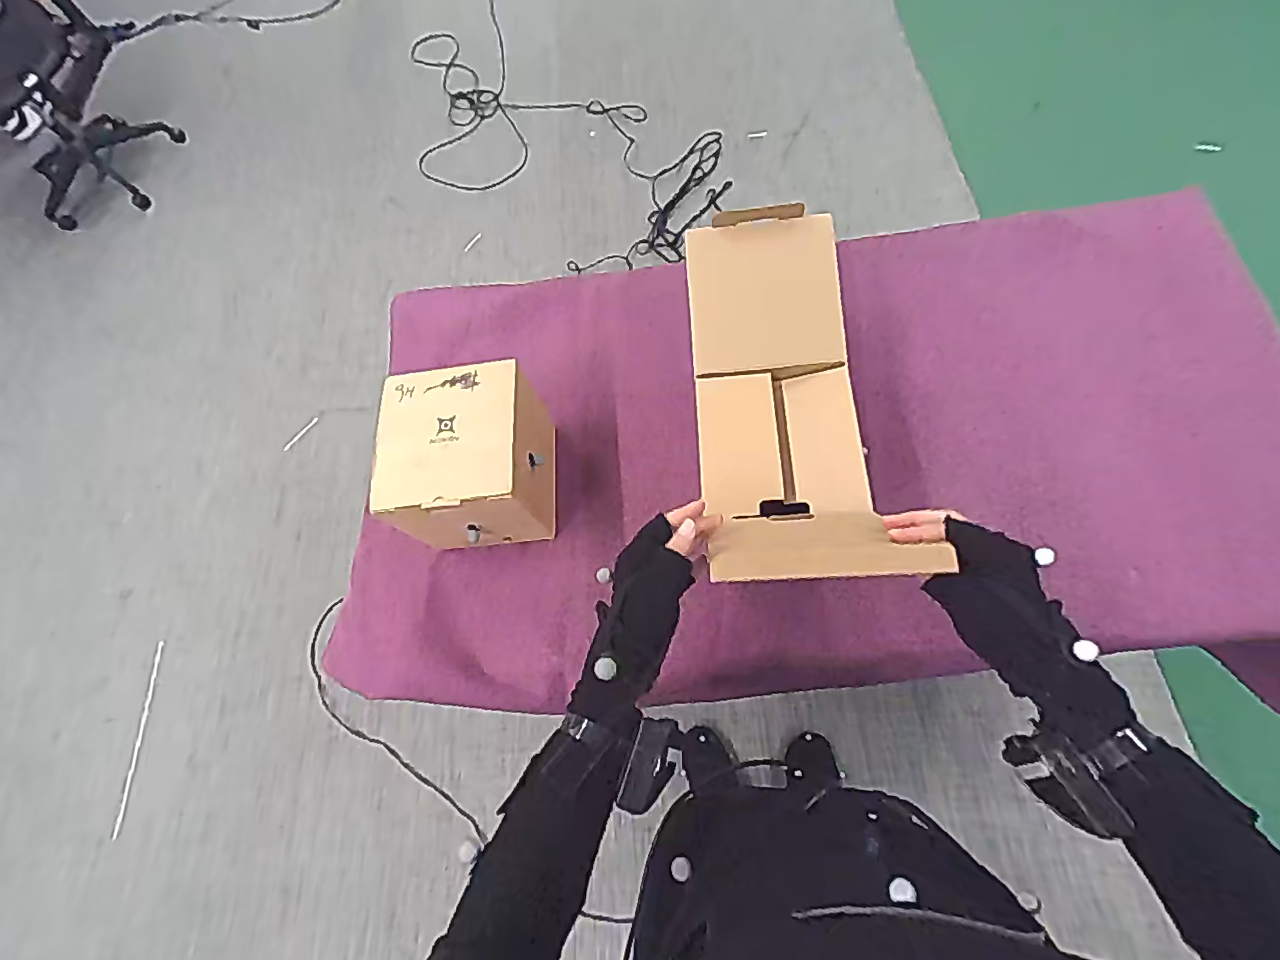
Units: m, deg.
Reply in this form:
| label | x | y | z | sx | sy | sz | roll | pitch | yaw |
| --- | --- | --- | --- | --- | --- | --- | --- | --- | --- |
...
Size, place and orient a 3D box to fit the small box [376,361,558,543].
| label | x | y | z | sx | sy | sz | roll | pitch | yaw |
| --- | --- | --- | --- | --- | --- | --- | --- | --- | --- |
| small box | -0.205 | -0.023 | 0.687 | 0.168 | 0.176 | 0.179 | -7 | 69 | 6 |

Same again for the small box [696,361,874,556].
| label | x | y | z | sx | sy | sz | roll | pitch | yaw |
| --- | --- | --- | --- | --- | --- | --- | --- | --- | --- |
| small box | 0.155 | -0.012 | 0.628 | 0.168 | 0.176 | 0.179 | -4 | 68 | 7 |
